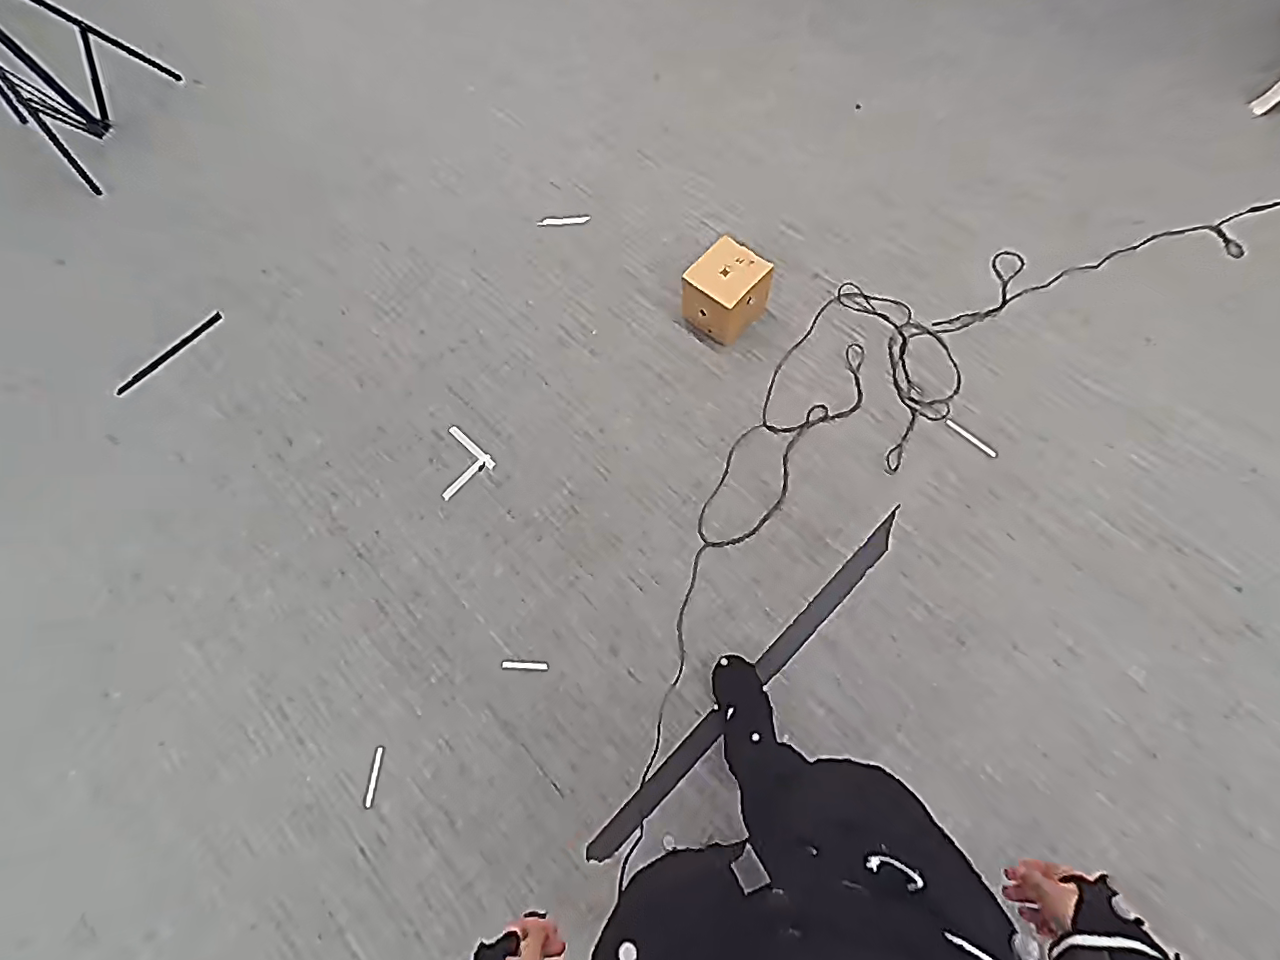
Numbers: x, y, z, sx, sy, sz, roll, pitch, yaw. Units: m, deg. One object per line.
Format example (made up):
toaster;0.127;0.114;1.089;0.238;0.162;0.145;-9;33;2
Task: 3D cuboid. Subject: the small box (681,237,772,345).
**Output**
small box;0.230;-0.502;1.456;0.168;0.176;0.179;41;78;17
